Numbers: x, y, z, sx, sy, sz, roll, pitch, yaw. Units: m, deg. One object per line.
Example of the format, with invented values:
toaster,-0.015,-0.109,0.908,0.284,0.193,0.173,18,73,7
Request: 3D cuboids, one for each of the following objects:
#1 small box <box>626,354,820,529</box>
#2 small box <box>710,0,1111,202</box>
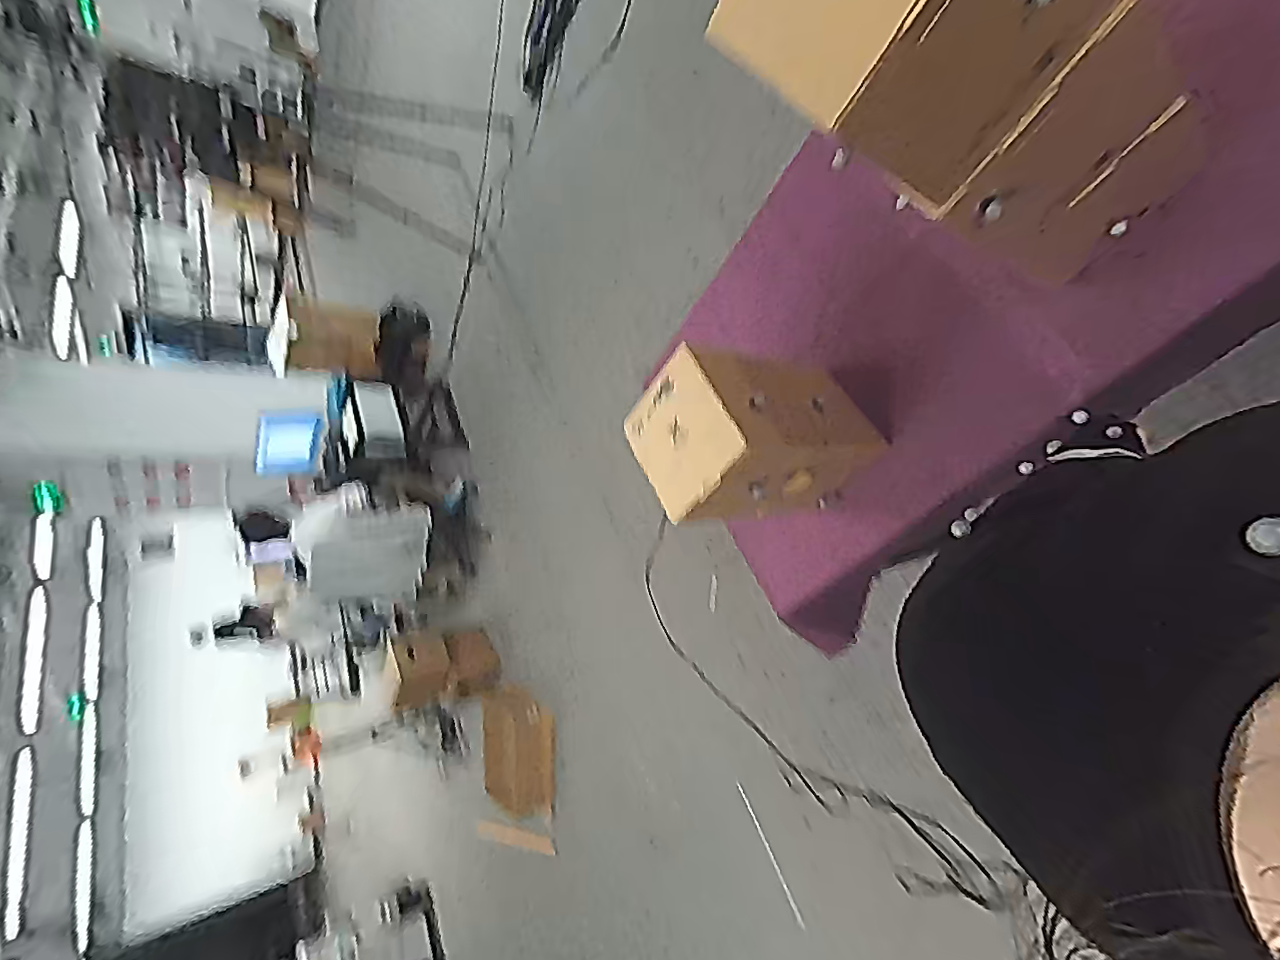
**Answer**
small box,0.116,-0.053,0.763,0.168,0.176,0.179,-50,56,38
small box,0.193,-0.337,0.402,0.168,0.176,0.179,-52,53,37
